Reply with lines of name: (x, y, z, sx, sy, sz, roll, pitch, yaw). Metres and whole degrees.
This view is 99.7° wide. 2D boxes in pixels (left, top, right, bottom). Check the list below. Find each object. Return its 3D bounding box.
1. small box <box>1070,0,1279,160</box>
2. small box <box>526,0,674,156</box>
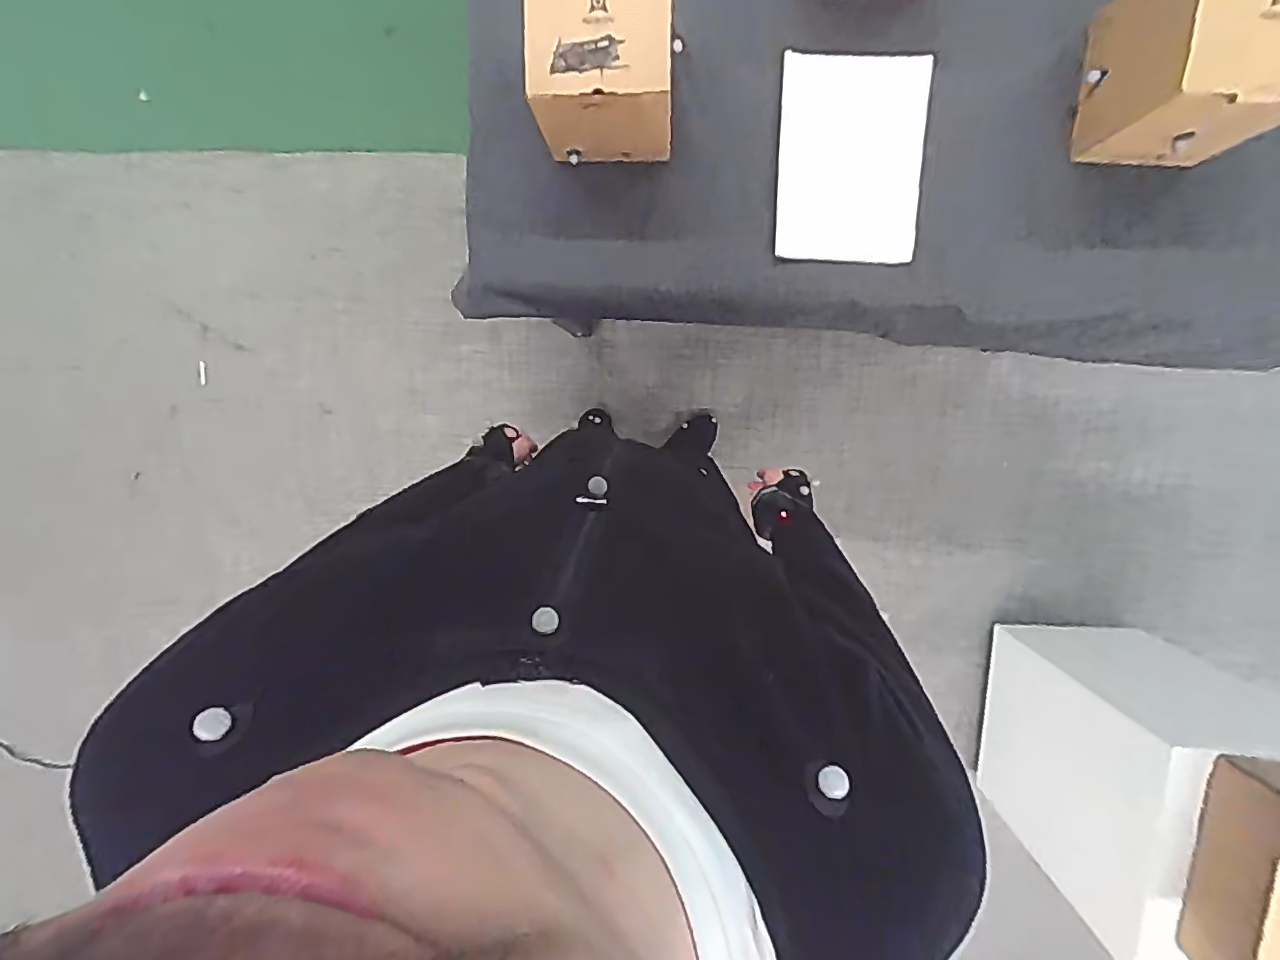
small box: (0.664, -0.506, 0.646, 0.168, 0.176, 0.179, 3, 100, 2)
small box: (-0.042, -0.531, 0.678, 0.168, 0.176, 0.179, 1, 98, 2)
